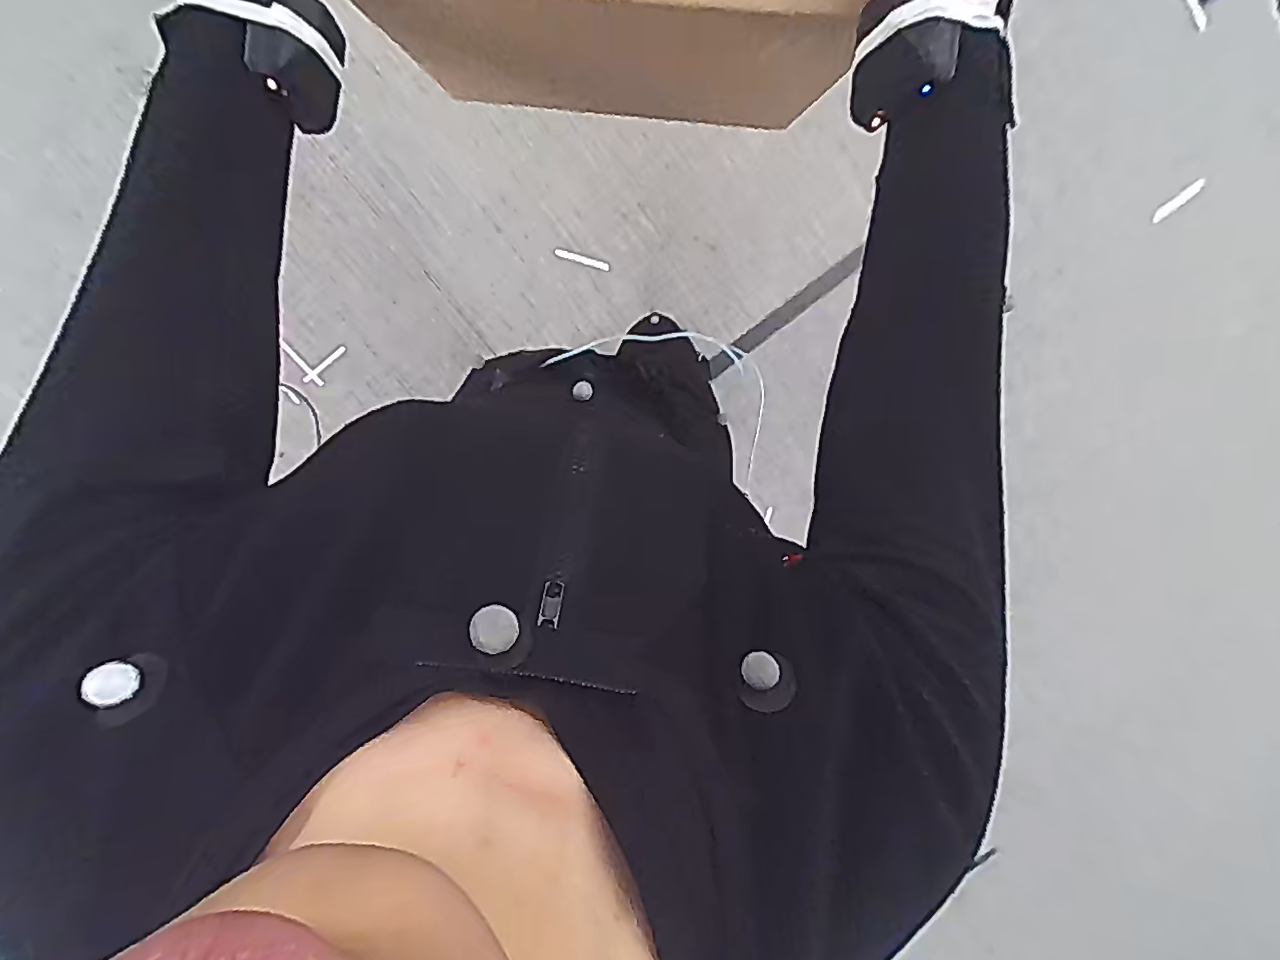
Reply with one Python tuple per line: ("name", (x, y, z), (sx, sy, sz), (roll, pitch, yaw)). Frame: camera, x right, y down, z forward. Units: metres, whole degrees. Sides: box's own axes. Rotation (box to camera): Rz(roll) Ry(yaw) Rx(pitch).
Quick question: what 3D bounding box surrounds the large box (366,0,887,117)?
("large box", (-0.016, -0.538, 0.462), (0.408, 0.320, 0.320), (3, 112, -3))
